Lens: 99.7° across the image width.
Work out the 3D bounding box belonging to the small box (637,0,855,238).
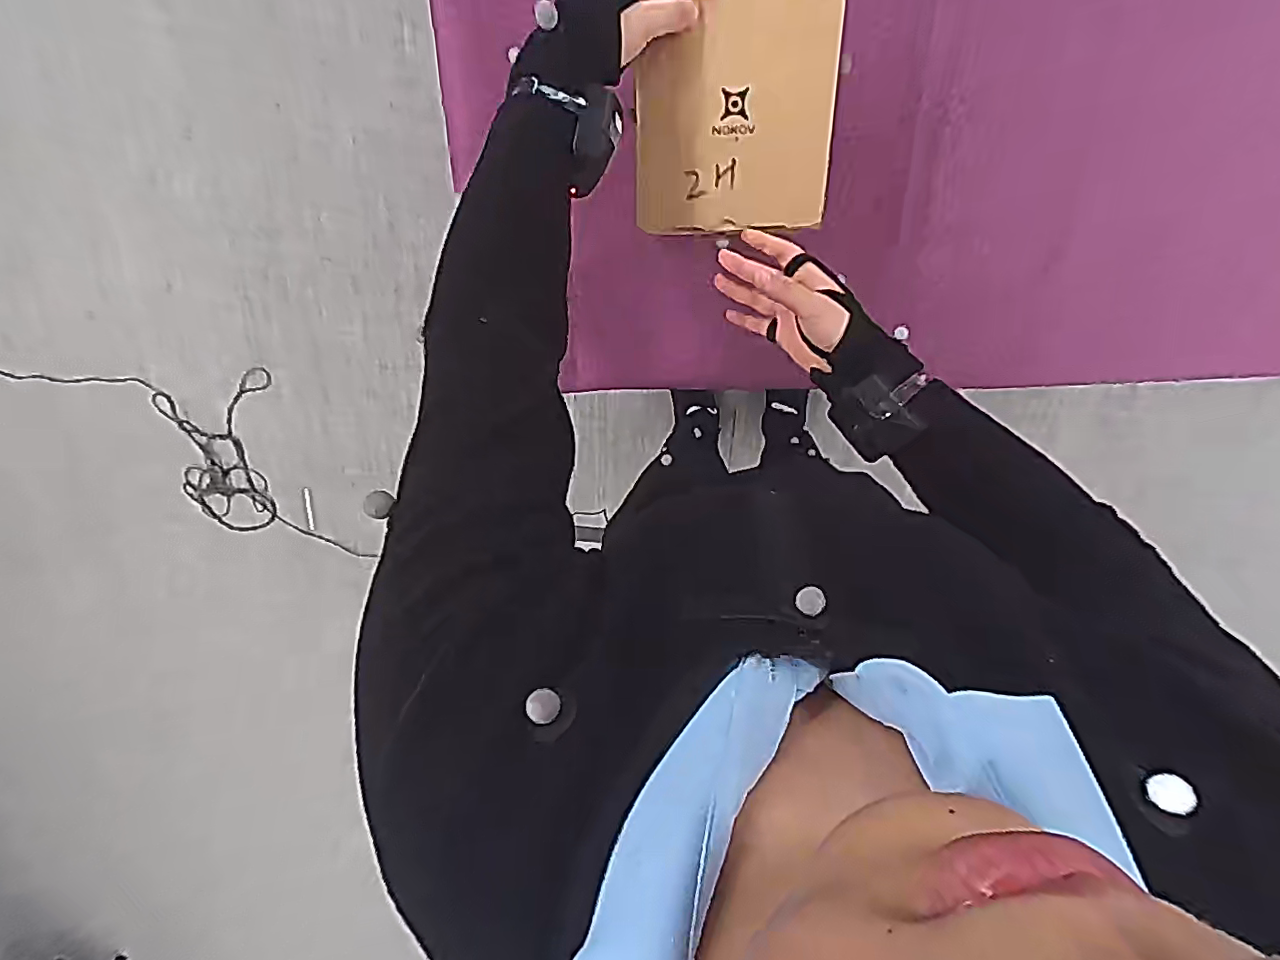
[{"bbox_3d":[0.091,-0.336,0.519,0.168,0.176,0.179,4,112,7],"label":"small box"}]

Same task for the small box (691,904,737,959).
[{"bbox_3d":[0.277,1.743,2.028,0.168,0.176,0.179,-1,109,6],"label":"small box"}]
